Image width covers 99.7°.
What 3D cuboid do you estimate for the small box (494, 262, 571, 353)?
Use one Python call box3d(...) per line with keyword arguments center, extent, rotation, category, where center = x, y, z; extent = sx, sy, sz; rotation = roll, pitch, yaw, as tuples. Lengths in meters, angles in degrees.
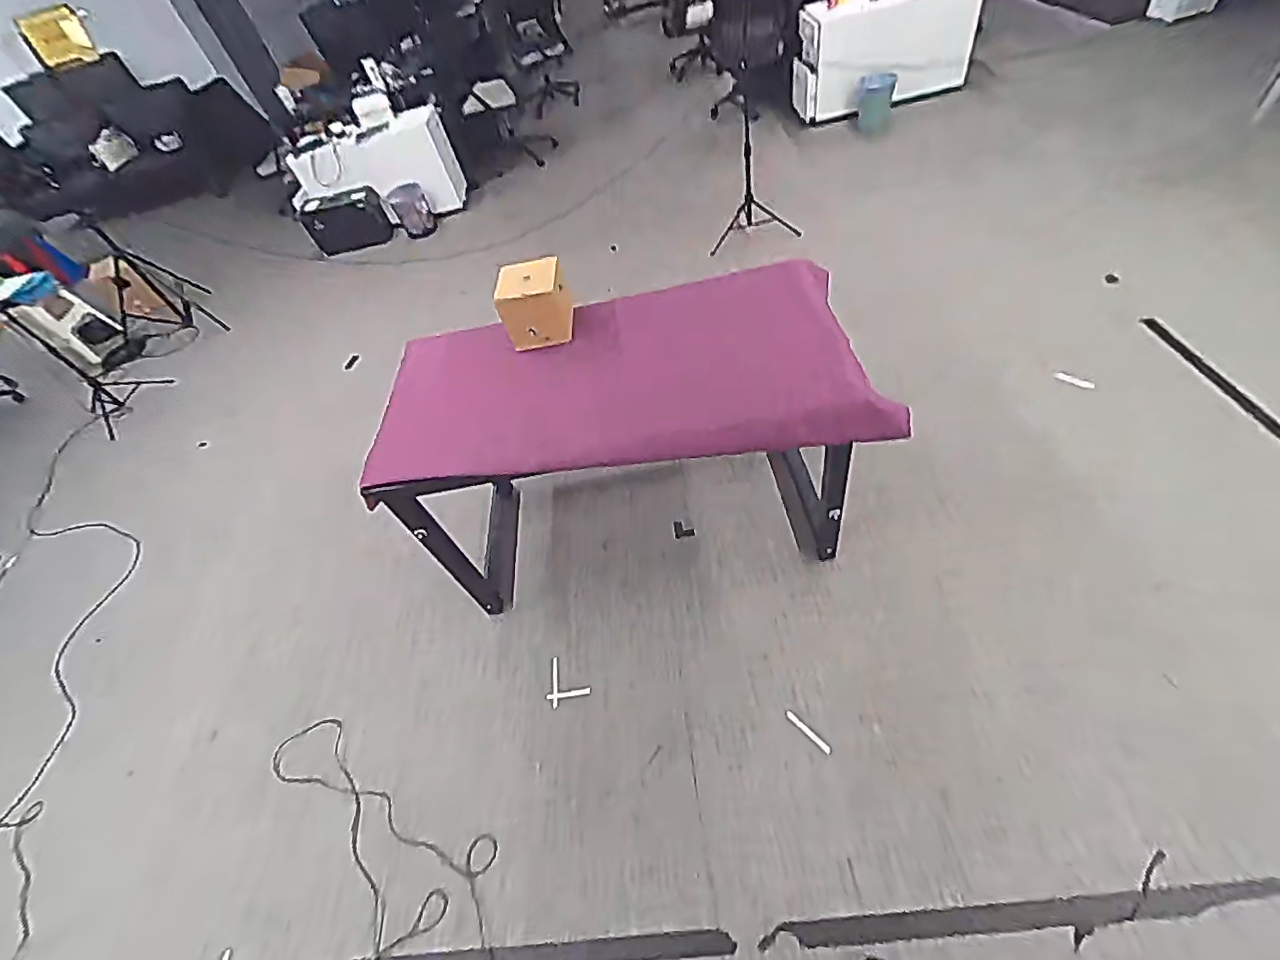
box3d(center=(-0.296, -0.486, 1.532), extent=(0.168, 0.176, 0.179), rotation=(-8, 50, 7), category="small box")
